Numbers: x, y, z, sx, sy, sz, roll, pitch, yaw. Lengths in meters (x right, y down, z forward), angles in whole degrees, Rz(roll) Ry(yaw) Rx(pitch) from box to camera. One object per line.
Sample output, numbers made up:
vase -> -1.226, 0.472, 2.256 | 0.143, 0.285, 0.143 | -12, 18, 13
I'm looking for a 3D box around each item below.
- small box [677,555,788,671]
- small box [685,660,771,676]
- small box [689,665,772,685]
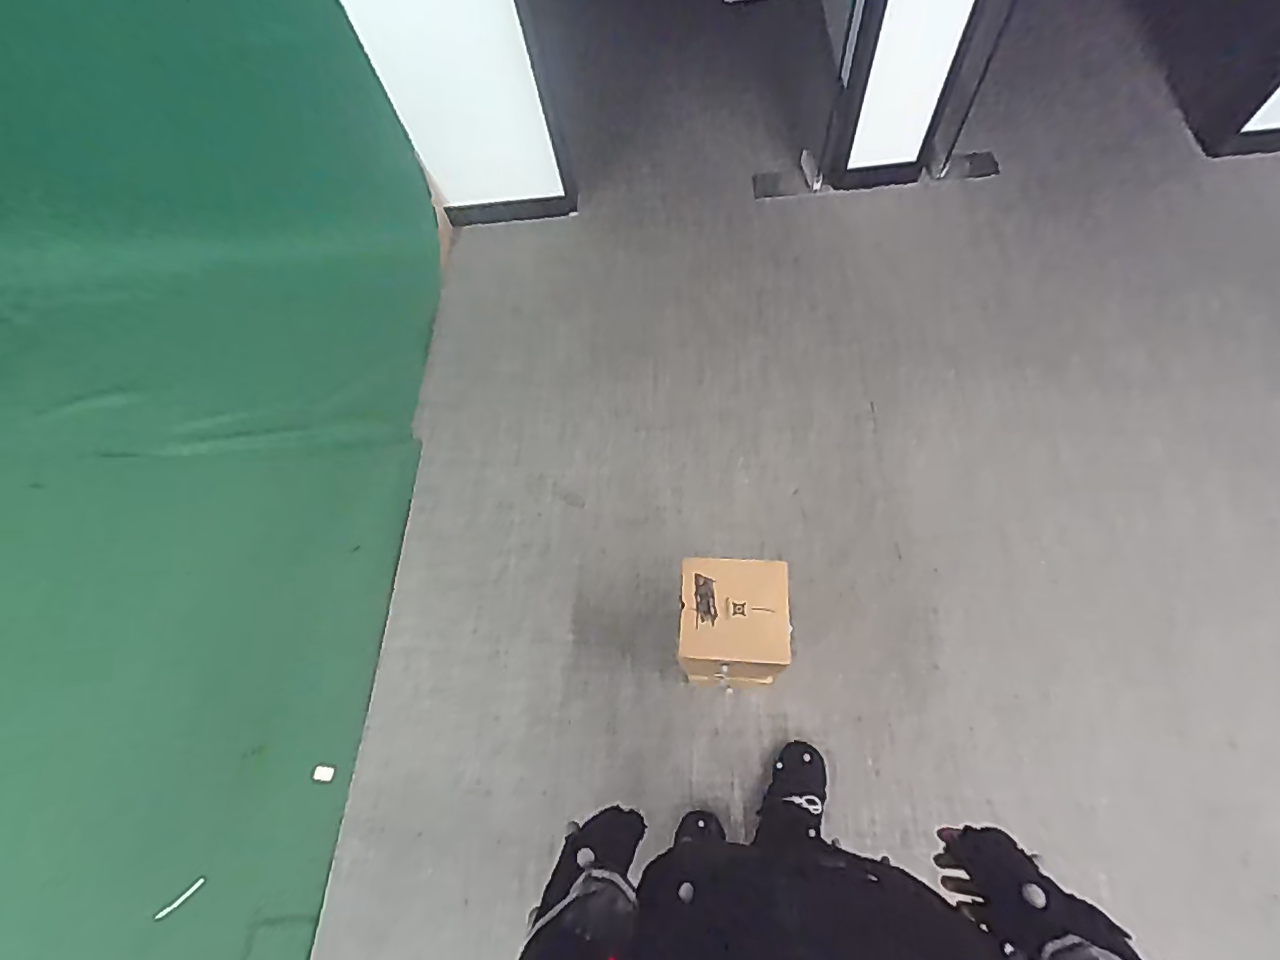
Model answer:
small box -> 0.162, 0.237, 0.949 | 0.179, 0.176, 0.168 | 1, 65, 9
small box -> 0.178, 0.298, 1.101 | 0.168, 0.176, 0.179 | -1, 66, 9
small box -> 0.203, 0.375, 1.243 | 0.179, 0.176, 0.168 | 1, 65, 7
